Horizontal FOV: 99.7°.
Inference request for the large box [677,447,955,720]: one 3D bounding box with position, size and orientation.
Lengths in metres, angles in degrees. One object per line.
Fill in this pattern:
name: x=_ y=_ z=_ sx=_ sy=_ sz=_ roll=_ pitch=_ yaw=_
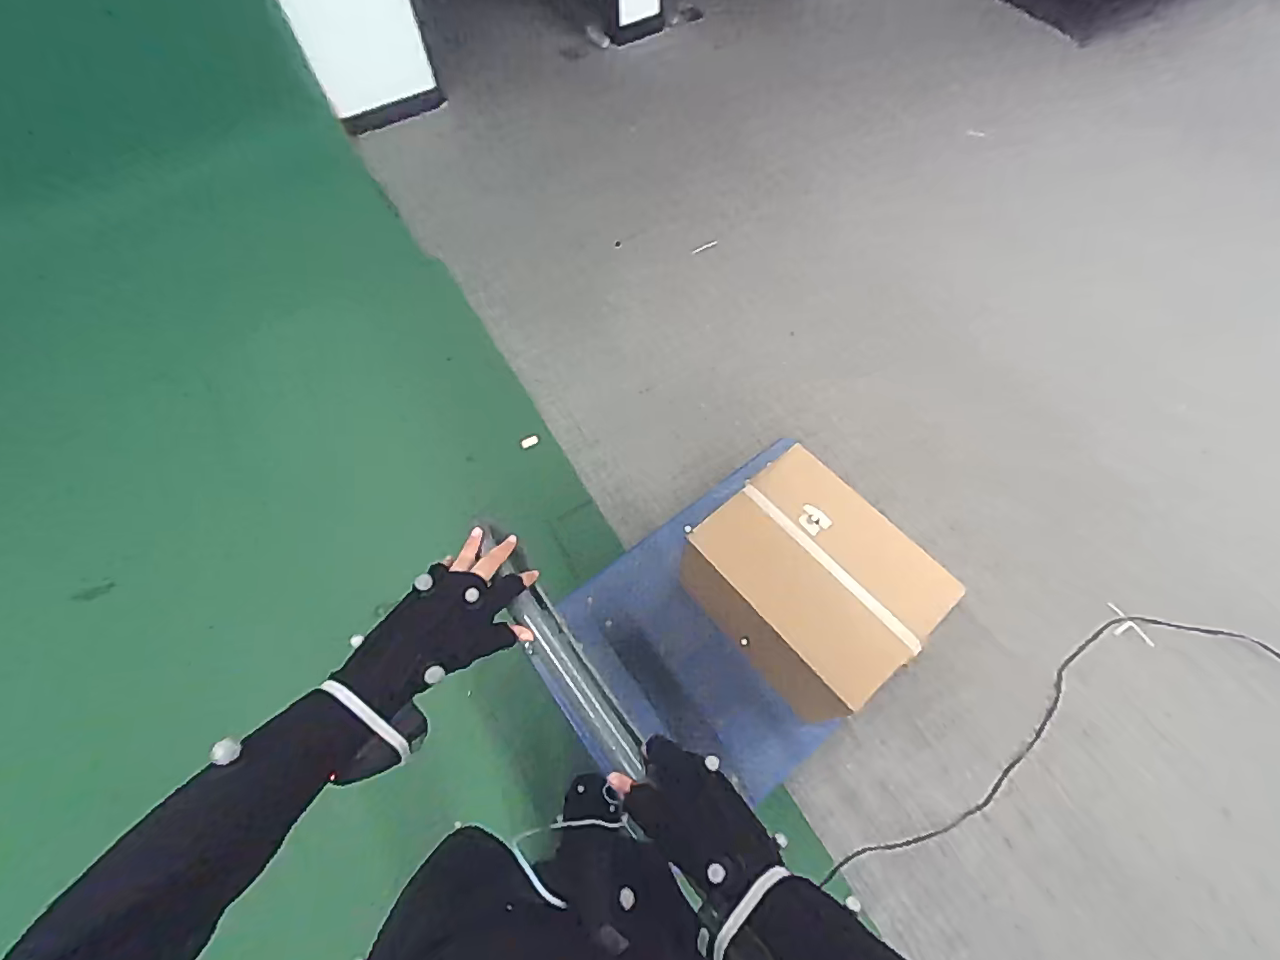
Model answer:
large box: x=0.321 y=0.218 z=1.112 sx=0.320 sy=0.320 sz=0.408 roll=-37 pitch=67 yaw=-17
